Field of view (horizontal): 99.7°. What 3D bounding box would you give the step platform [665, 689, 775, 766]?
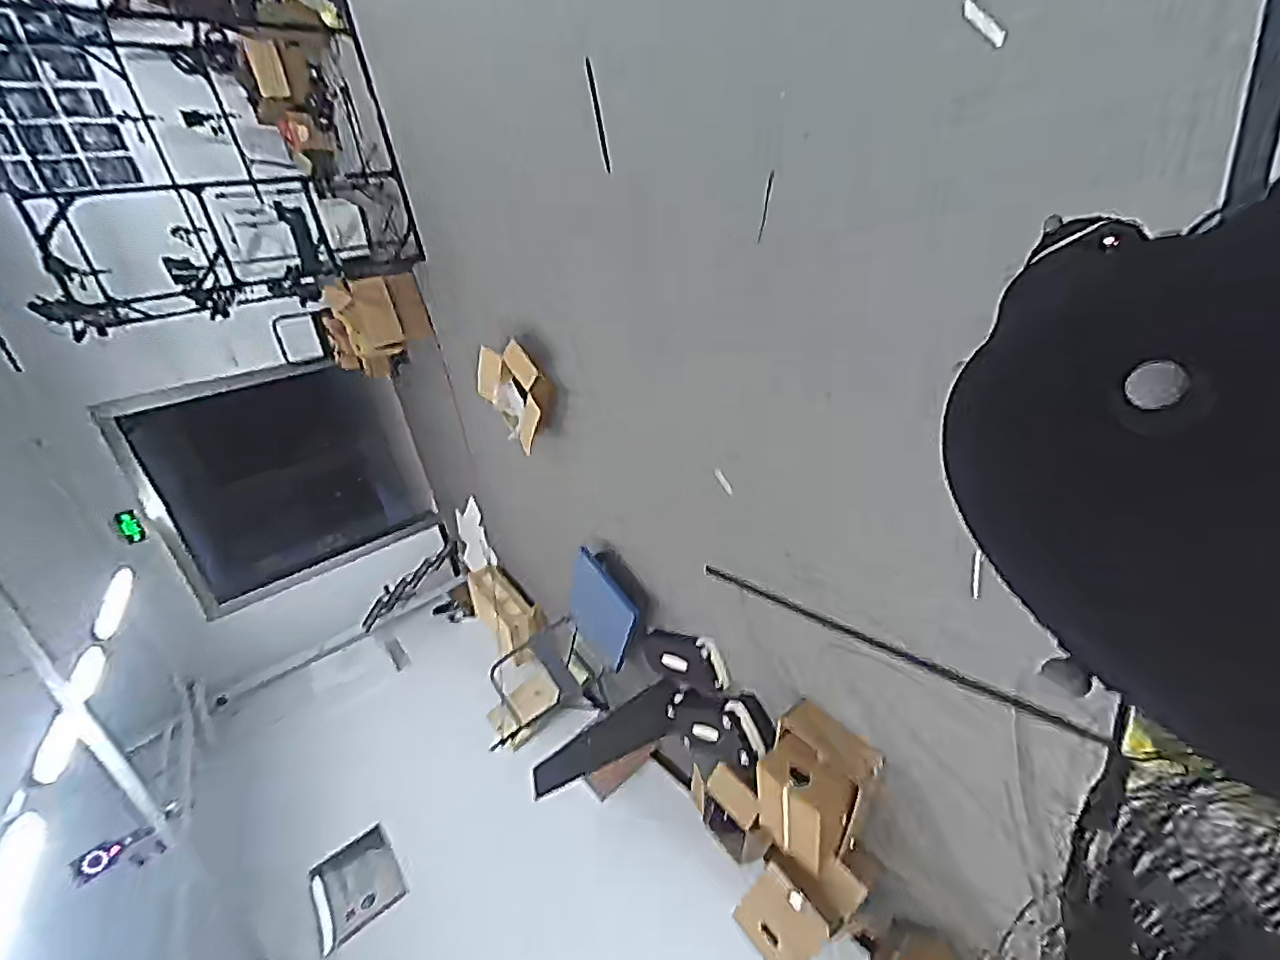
[{"bbox_3d":[0.409,1.340,2.960,0.684,0.204,0.286,-31,86,57],"label":"step platform"}]
